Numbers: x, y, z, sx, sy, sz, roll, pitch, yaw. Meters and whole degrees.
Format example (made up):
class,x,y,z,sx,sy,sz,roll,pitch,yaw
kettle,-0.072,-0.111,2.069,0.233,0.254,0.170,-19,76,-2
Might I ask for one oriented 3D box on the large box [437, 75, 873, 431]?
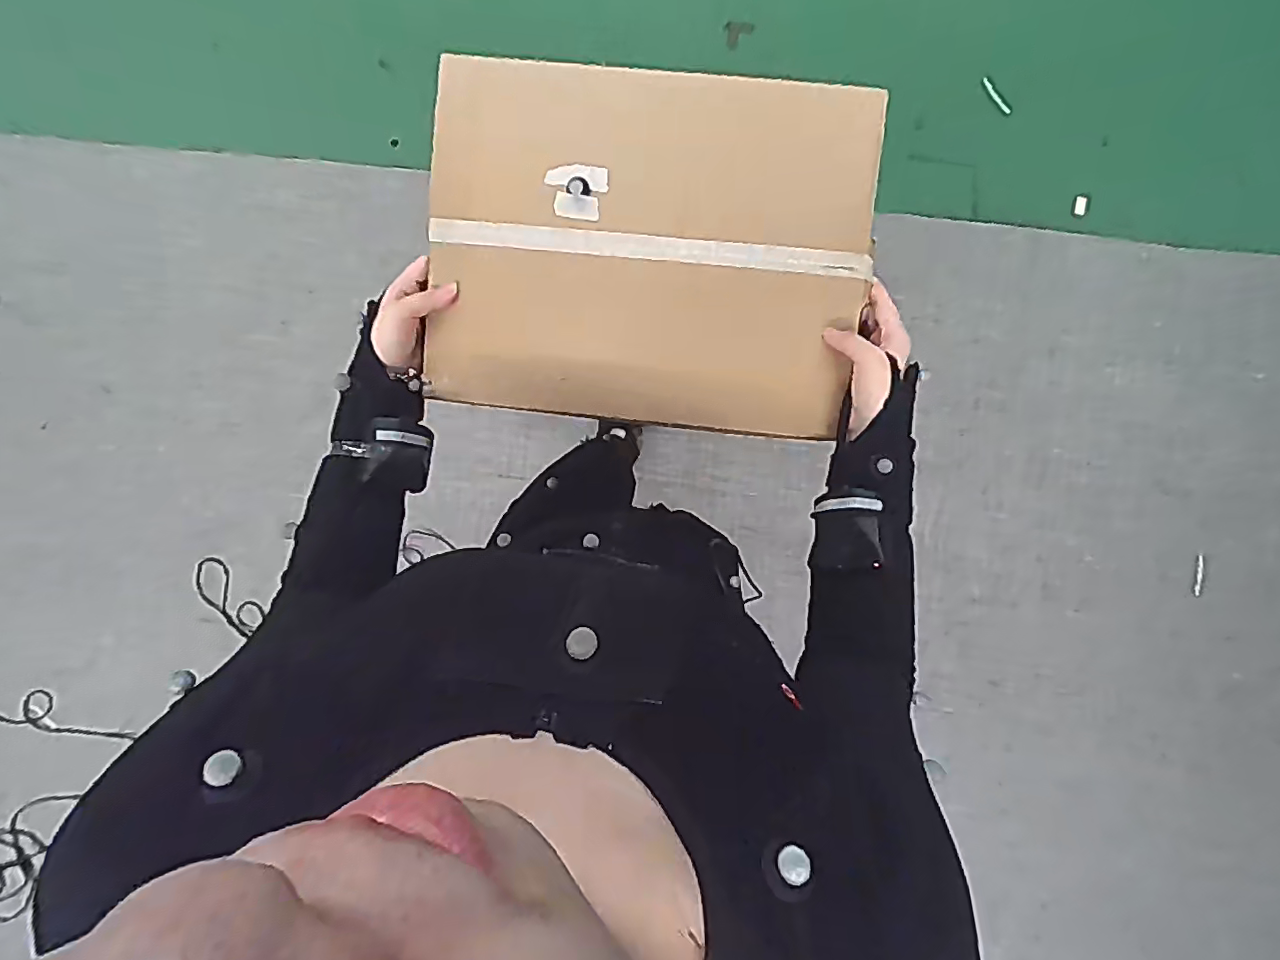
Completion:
class,x,y,z,sx,sy,sz,roll,pitch,yaw
large box,0.017,-0.232,0.663,0.408,0.320,0.320,6,95,4
